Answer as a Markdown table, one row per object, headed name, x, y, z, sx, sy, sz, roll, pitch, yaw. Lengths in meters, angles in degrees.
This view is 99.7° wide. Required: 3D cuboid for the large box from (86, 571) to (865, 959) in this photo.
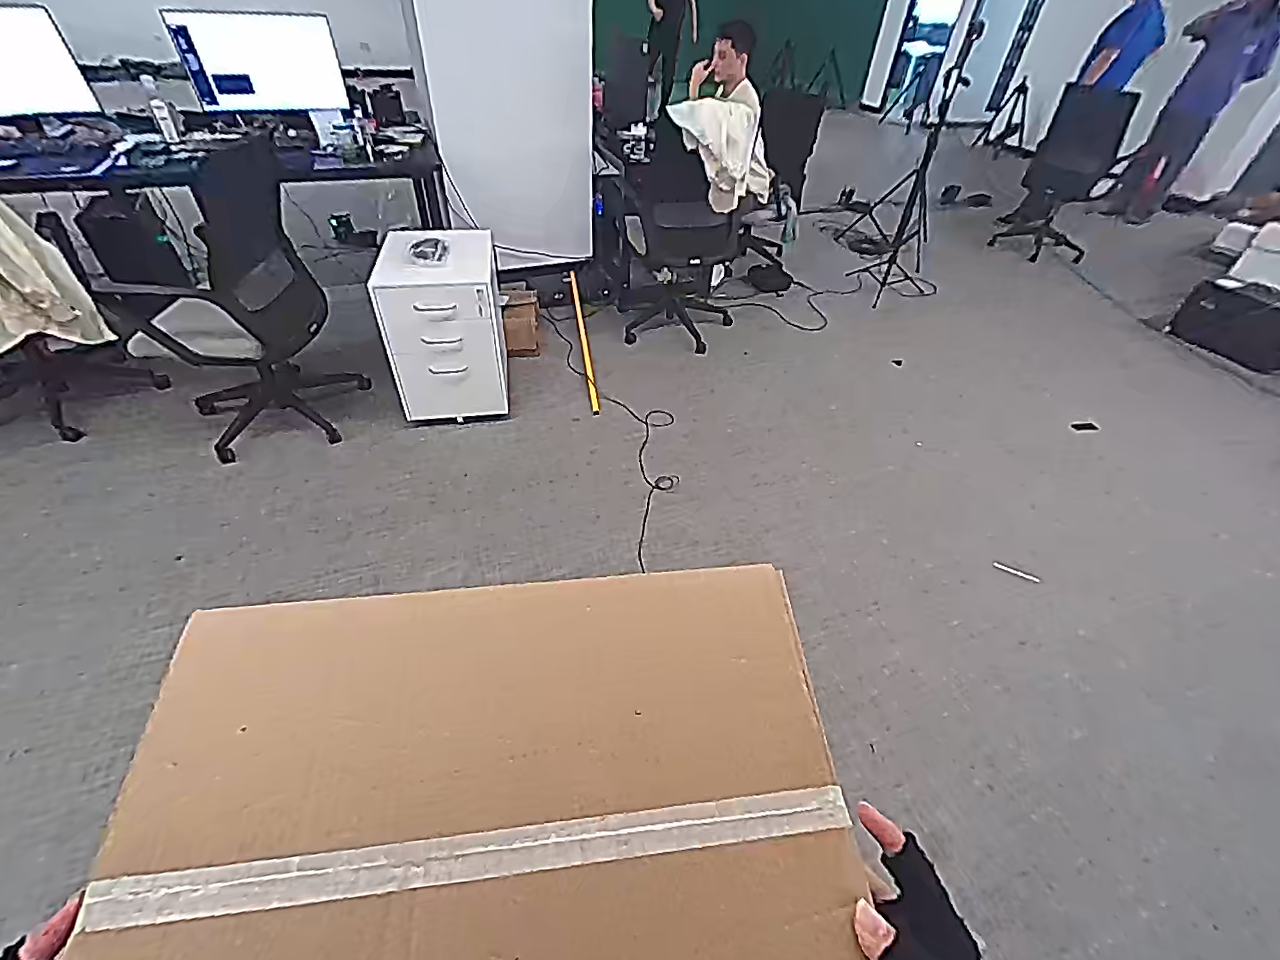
| name | x | y | z | sx | sy | sz | roll | pitch | yaw |
| --- | --- | --- | --- | --- | --- | --- | --- | --- | --- |
| large box | -0.090 | 0.292 | 0.432 | 0.408 | 0.320 | 0.320 | -4 | 55 | -5 |
